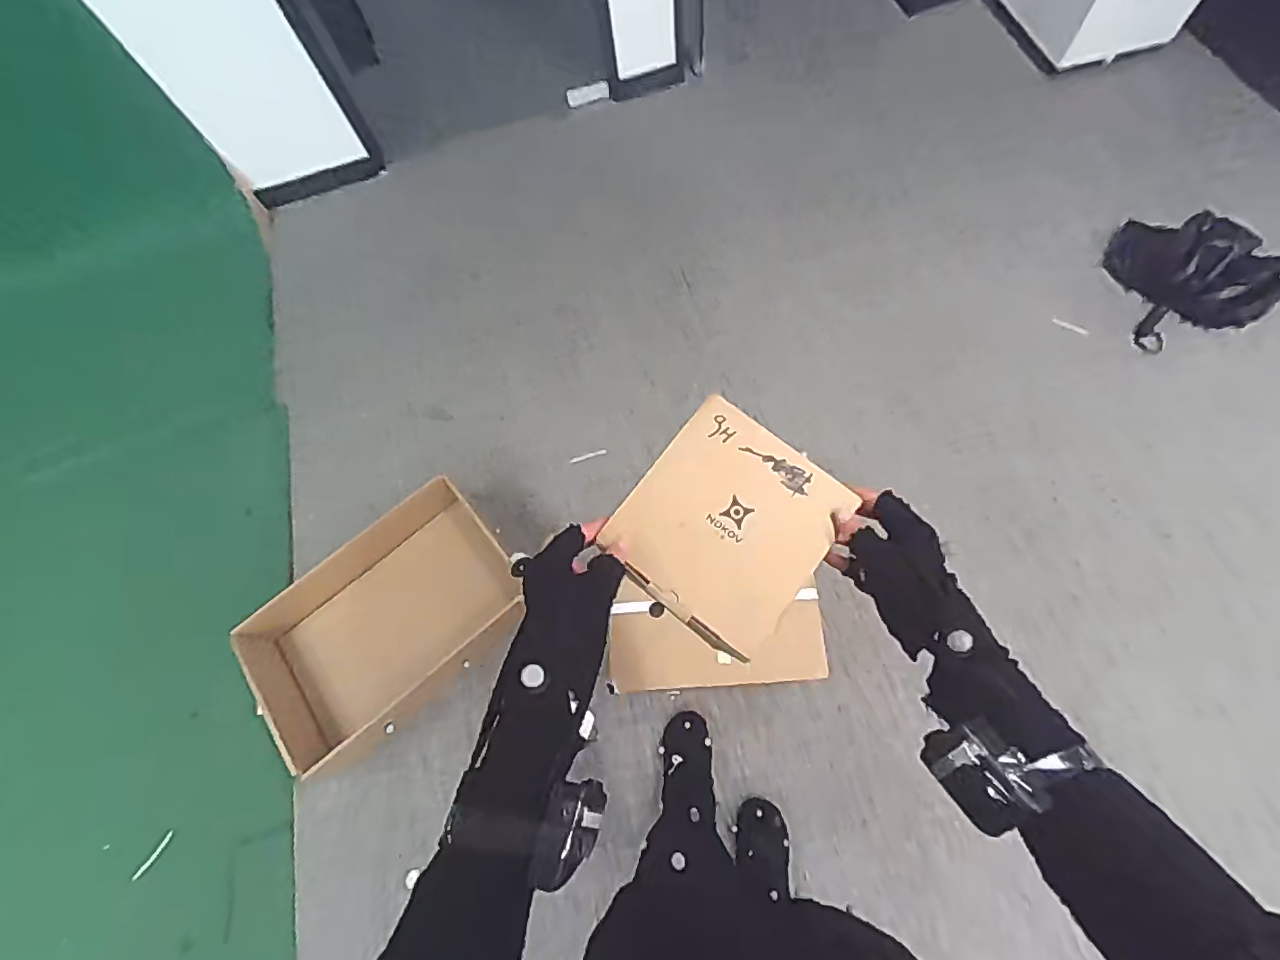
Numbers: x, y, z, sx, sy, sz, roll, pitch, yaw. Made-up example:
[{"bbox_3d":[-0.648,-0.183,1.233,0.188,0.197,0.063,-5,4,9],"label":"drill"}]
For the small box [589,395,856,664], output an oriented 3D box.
[{"bbox_3d":[0.073,0.054,0.539,0.168,0.176,0.179,38,80,7],"label":"small box"}]
